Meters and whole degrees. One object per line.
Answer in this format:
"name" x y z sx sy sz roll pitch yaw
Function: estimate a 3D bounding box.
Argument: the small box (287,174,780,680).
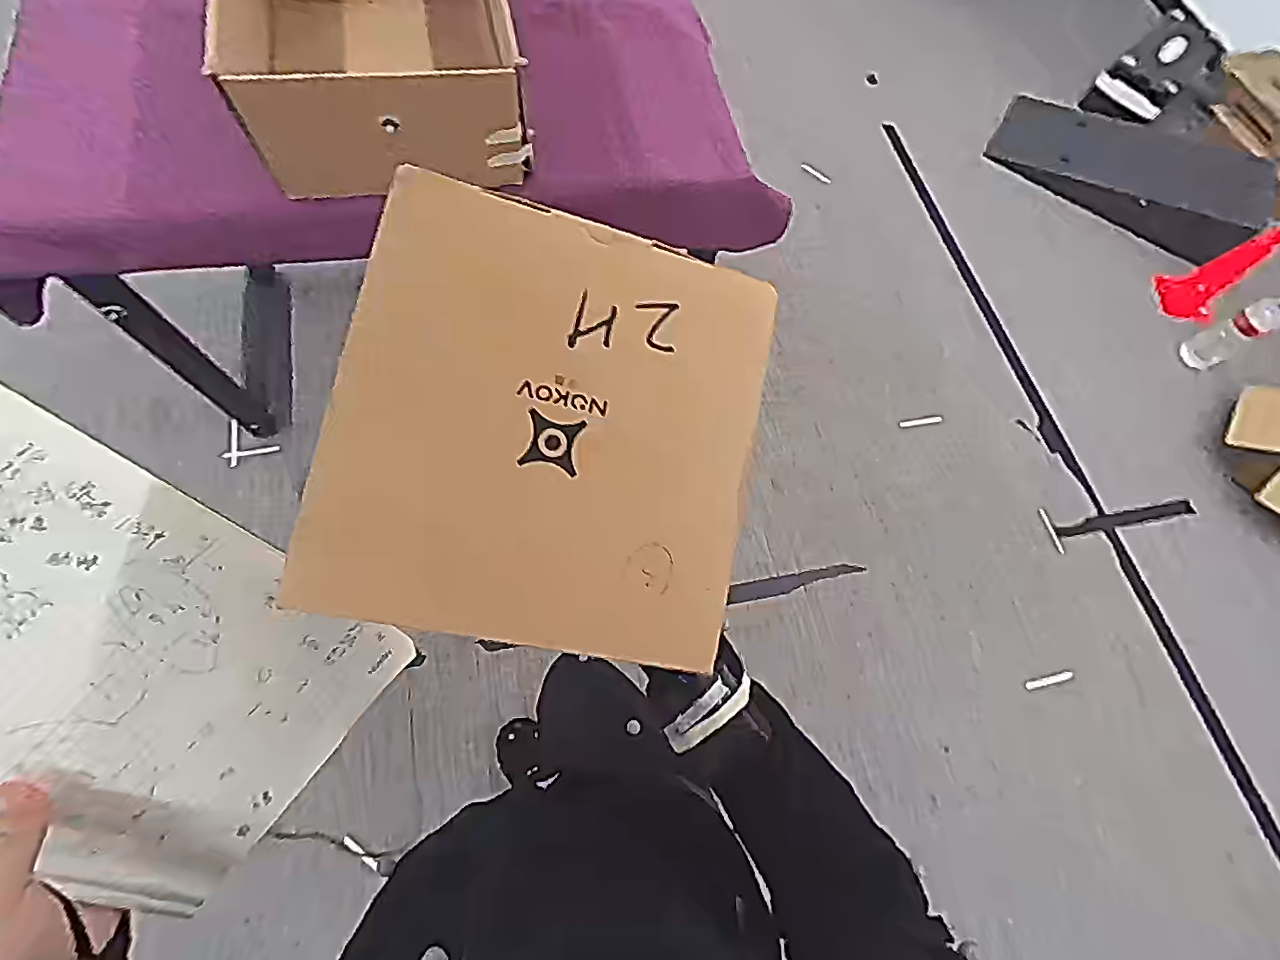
"small box" -0.048 -0.012 0.293 0.168 0.176 0.179 13 81 -12
